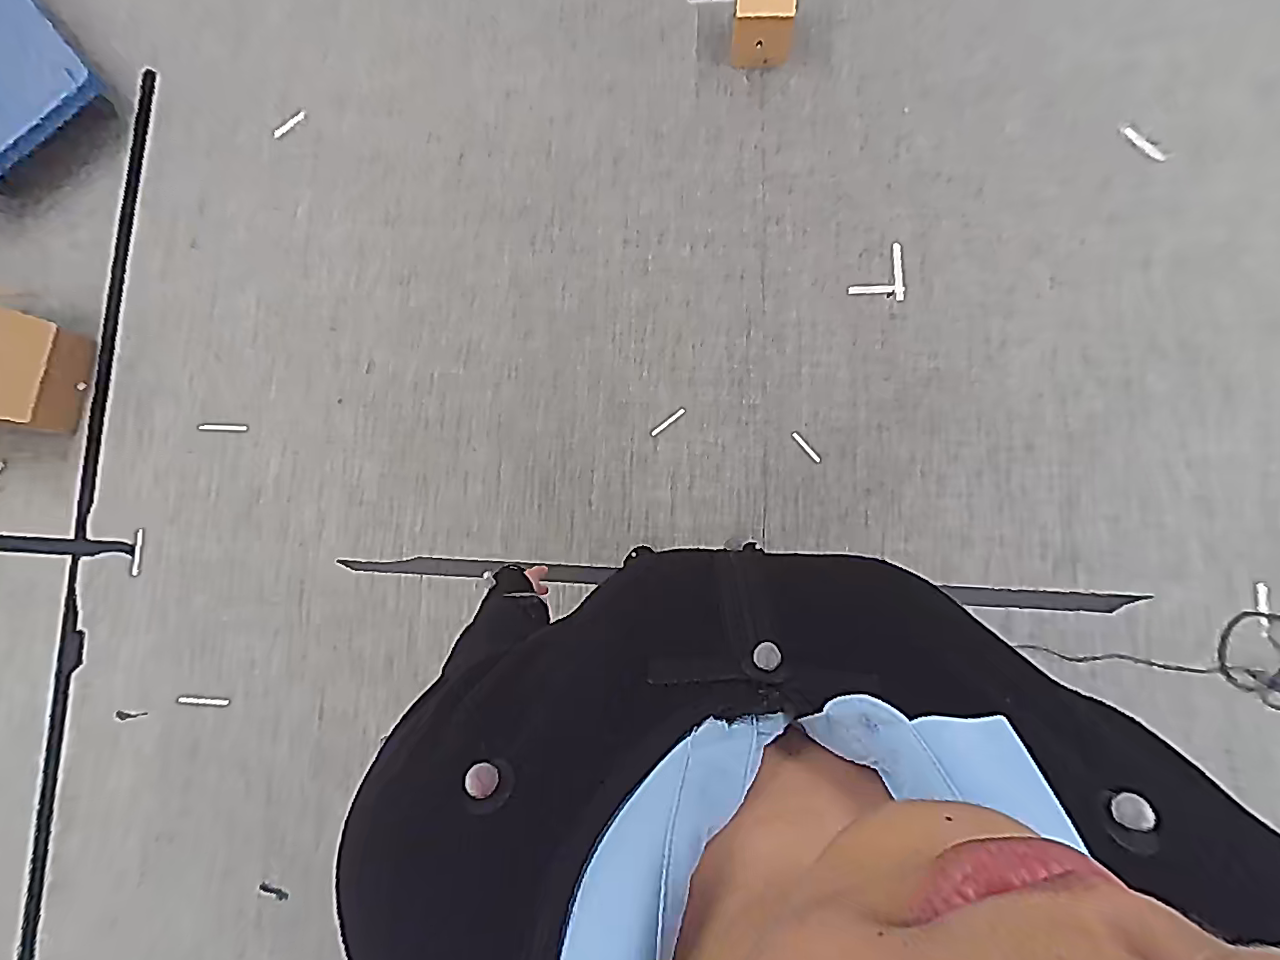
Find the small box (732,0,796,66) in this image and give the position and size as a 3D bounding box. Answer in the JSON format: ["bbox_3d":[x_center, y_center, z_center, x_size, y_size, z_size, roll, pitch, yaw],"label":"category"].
[{"bbox_3d":[0.365,-1.370,1.599,0.168,0.176,0.179,4,83,4],"label":"small box"}]
